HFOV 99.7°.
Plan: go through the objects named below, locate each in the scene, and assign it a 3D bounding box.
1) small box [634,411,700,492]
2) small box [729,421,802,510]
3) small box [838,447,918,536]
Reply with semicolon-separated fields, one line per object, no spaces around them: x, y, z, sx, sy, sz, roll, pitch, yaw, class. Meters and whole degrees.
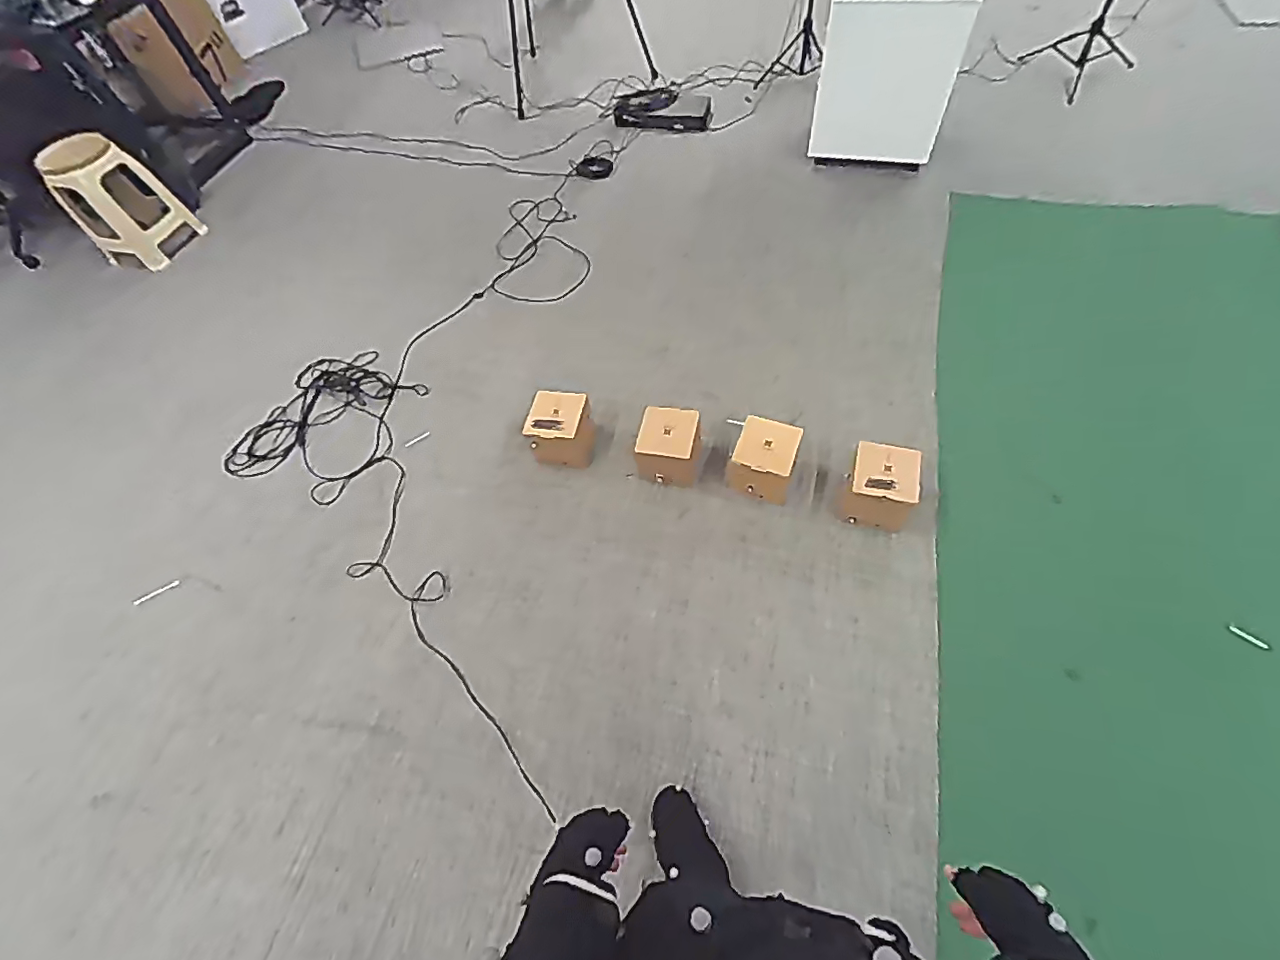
0.089;-0.086;1.655;0.168;0.176;0.179;8;61;13;small box
0.365;-0.041;1.599;0.168;0.176;0.179;17;62;16;small box
0.664;0.037;1.520;0.168;0.176;0.179;13;59;13;small box
